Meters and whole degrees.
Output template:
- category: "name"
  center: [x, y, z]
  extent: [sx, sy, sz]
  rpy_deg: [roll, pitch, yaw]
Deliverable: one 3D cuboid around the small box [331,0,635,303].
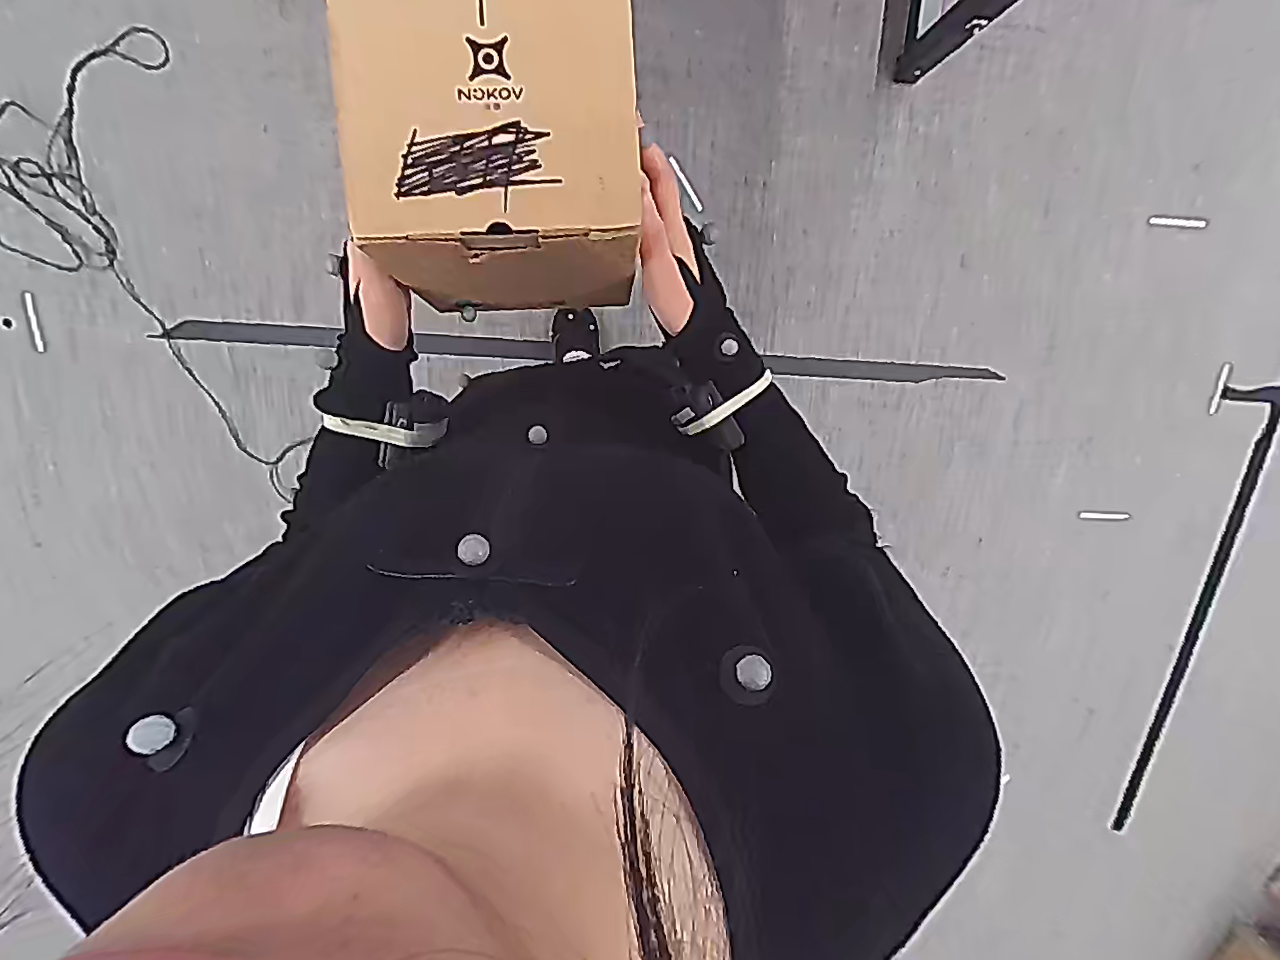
- category: "small box"
  center: [-0.091, -0.230, 0.382]
  extent: [0.168, 0.176, 0.179]
  rpy_deg: [-3, 93, -4]
